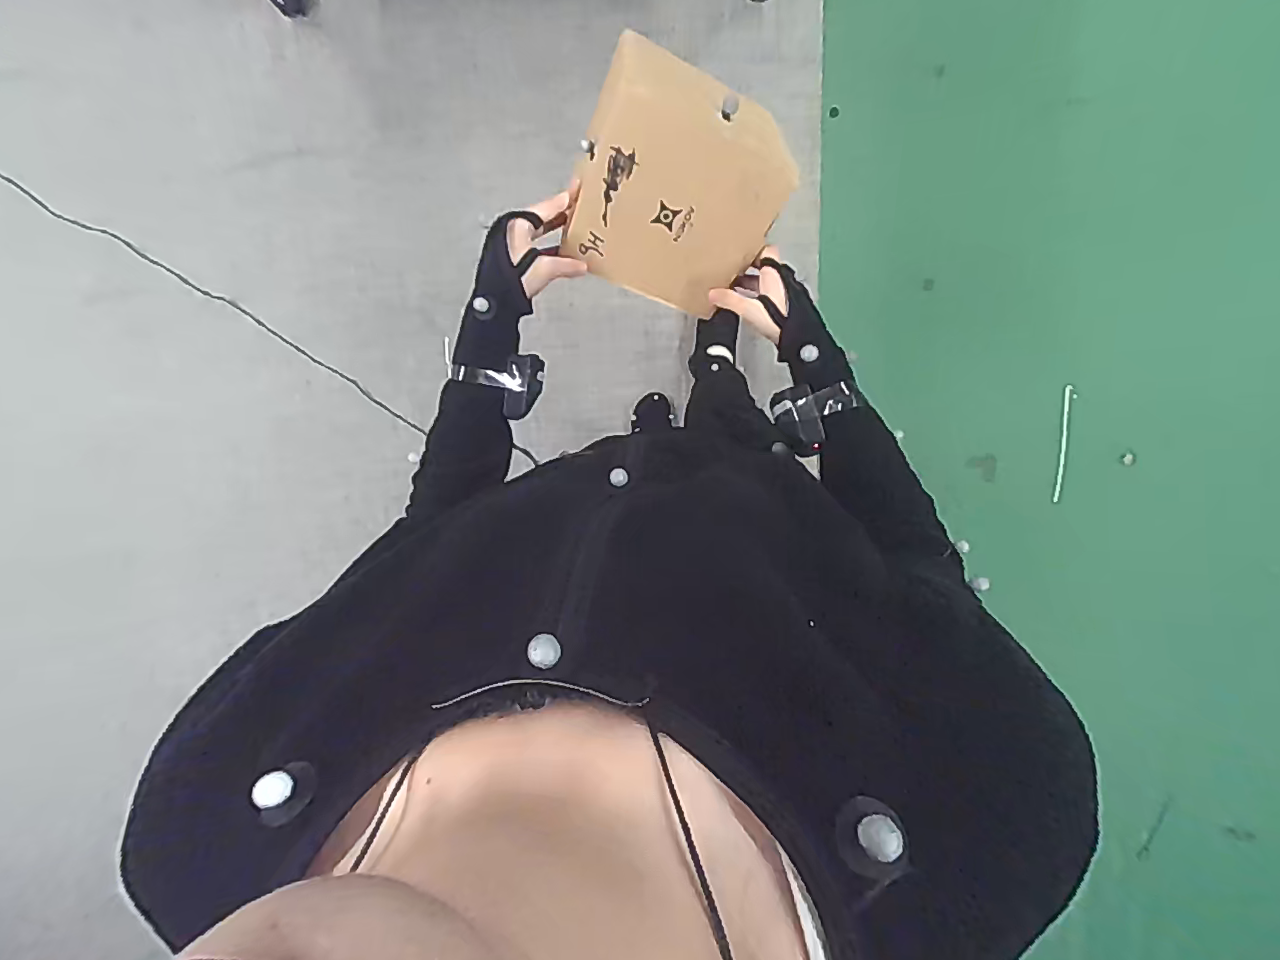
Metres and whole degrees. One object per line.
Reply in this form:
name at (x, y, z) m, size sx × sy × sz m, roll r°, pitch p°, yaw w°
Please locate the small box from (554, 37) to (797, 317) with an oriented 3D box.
small box at (0.026, -0.305, 0.549) m, size 0.179 × 0.176 × 0.168 m, roll 16°, pitch 137°, yaw -20°
